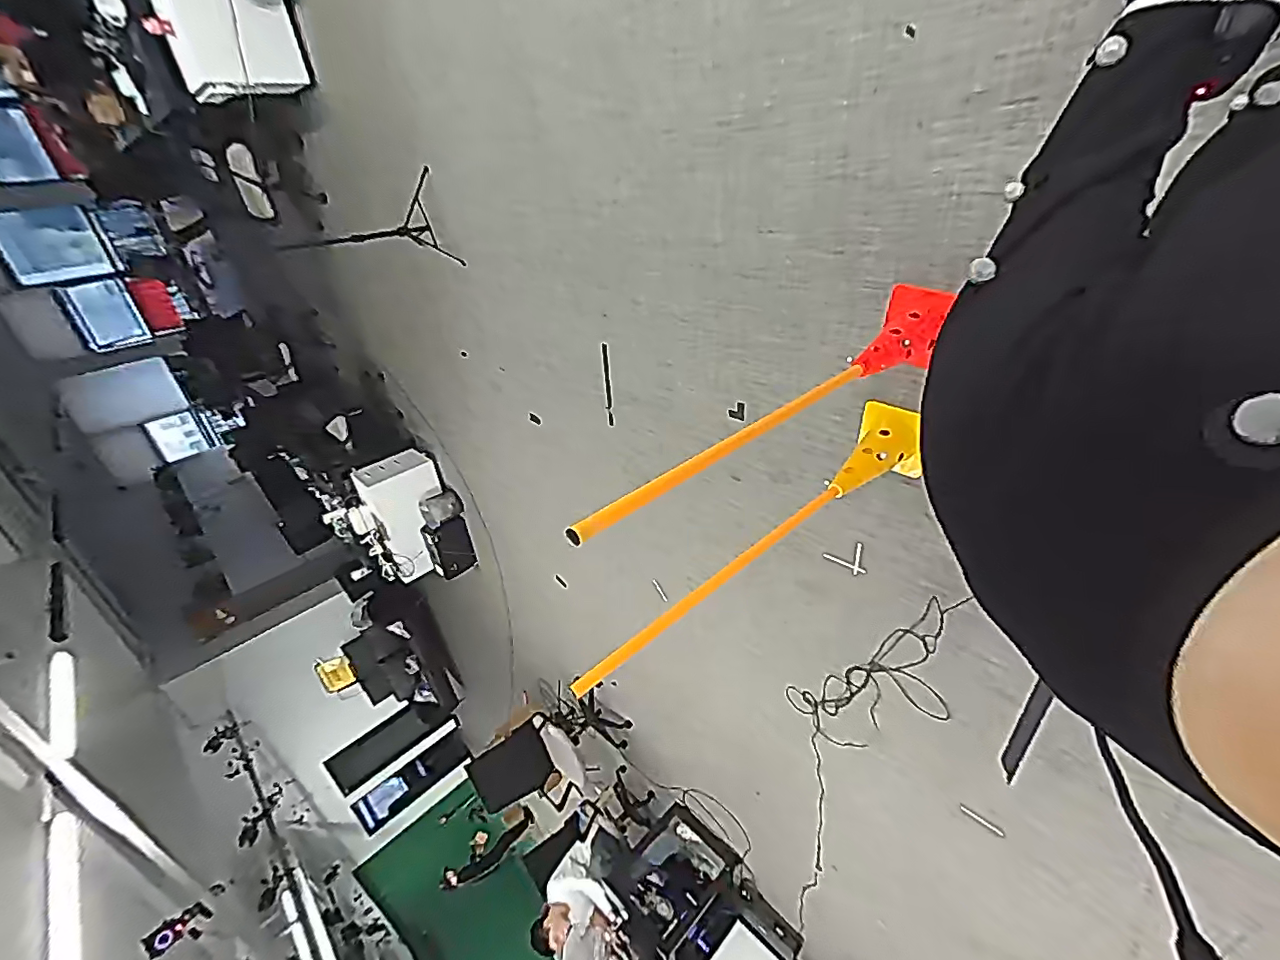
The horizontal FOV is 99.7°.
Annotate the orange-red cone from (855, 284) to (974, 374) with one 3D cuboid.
[{"bbox_3d":[0.615,-0.324,1.299,0.198,0.360,0.199,31,134,34],"label":"orange-red cone"}]
